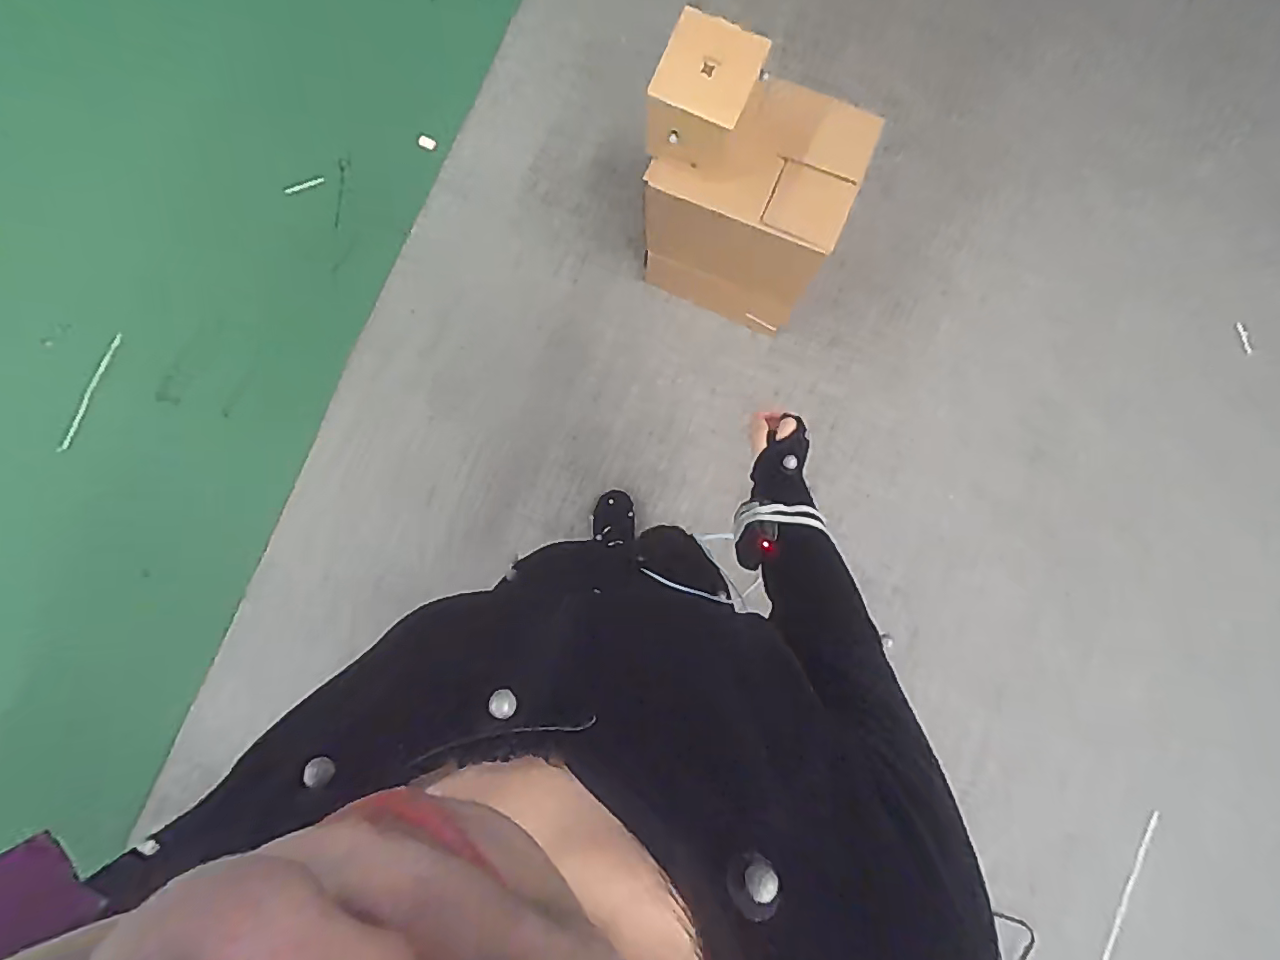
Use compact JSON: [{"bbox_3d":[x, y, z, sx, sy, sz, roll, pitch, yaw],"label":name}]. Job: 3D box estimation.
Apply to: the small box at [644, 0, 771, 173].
[{"bbox_3d":[0.117,-0.716,1.000,0.168,0.176,0.179,24,89,0],"label":"small box"}]
